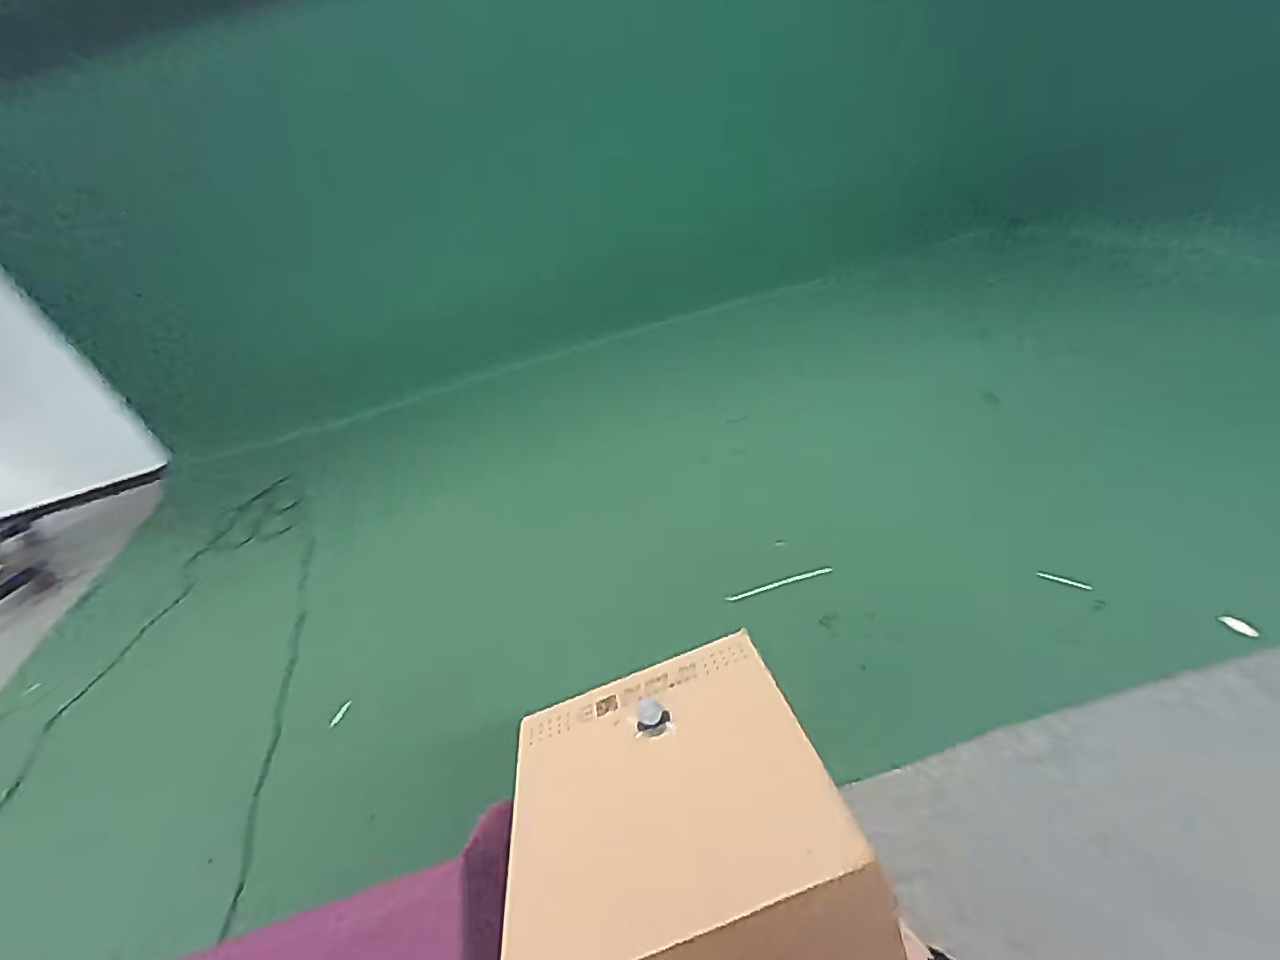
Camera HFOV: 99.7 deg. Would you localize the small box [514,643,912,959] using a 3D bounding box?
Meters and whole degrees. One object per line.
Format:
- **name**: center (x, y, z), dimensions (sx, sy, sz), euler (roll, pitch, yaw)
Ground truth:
- **small box**: center (0.042, 0.234, 0.322), dimensions (0.168, 0.179, 0.176), euler (-21, 18, -1)
